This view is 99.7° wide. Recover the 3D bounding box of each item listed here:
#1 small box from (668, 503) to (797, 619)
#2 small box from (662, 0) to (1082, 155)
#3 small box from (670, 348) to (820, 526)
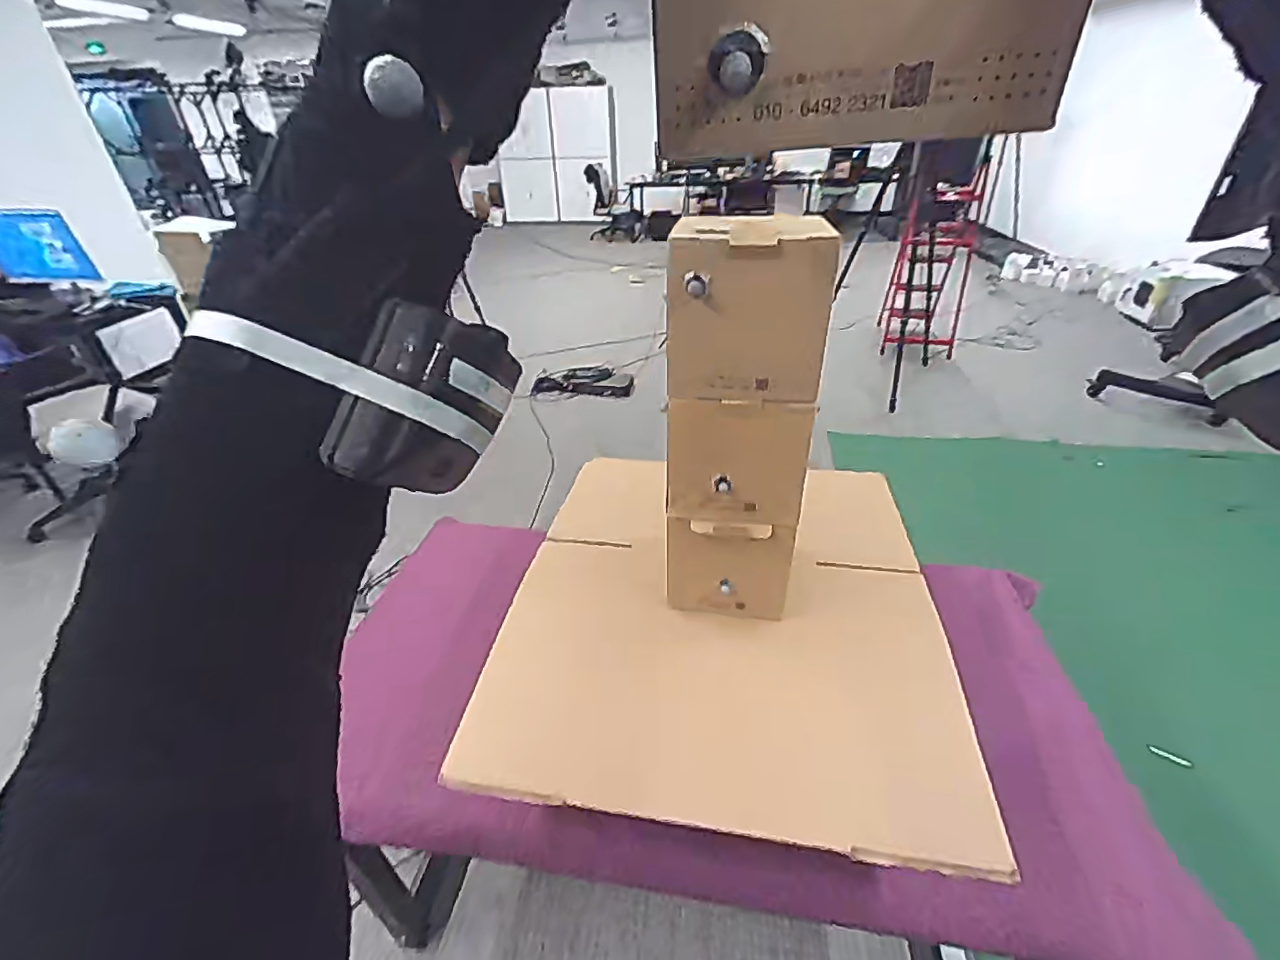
[{"bbox_3d":[0.133,0.075,0.797,0.168,0.176,0.179,4,33,9],"label":"small box"},{"bbox_3d":[0.093,-0.261,0.255,0.168,0.176,0.179,-3,37,3],"label":"small box"},{"bbox_3d":[0.129,-0.062,0.711,0.168,0.176,0.179,4,33,7],"label":"small box"}]
